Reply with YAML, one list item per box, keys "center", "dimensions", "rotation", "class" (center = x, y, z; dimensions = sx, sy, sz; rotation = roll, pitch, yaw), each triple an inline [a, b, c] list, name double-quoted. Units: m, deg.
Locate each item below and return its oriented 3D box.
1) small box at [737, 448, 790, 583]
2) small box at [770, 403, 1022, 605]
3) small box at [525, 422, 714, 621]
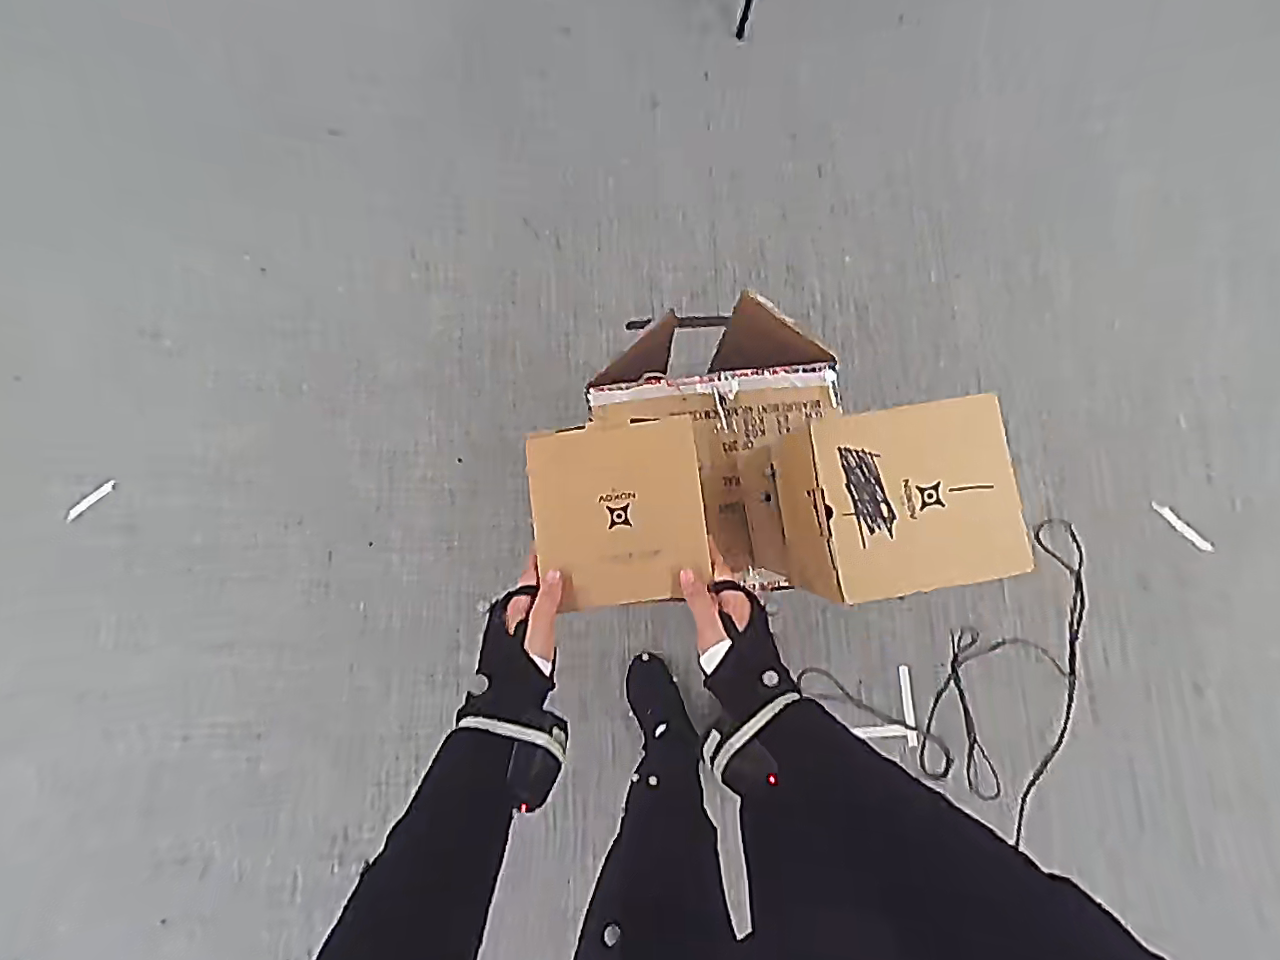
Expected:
- center: [0.244, 0.036, 0.735]
  dimensions: [0.179, 0.176, 0.168]
  rotation: [-9, 86, -1]
  class: "small box"
- center: [0.245, 0.028, 0.568]
  dimensions: [0.179, 0.176, 0.168]
  rotation: [-9, 86, -2]
  class: "small box"
- center: [-0.022, 0.045, 0.598]
  dimensions: [0.168, 0.176, 0.179]
  rotation: [-8, 86, -1]
  class: "small box"
